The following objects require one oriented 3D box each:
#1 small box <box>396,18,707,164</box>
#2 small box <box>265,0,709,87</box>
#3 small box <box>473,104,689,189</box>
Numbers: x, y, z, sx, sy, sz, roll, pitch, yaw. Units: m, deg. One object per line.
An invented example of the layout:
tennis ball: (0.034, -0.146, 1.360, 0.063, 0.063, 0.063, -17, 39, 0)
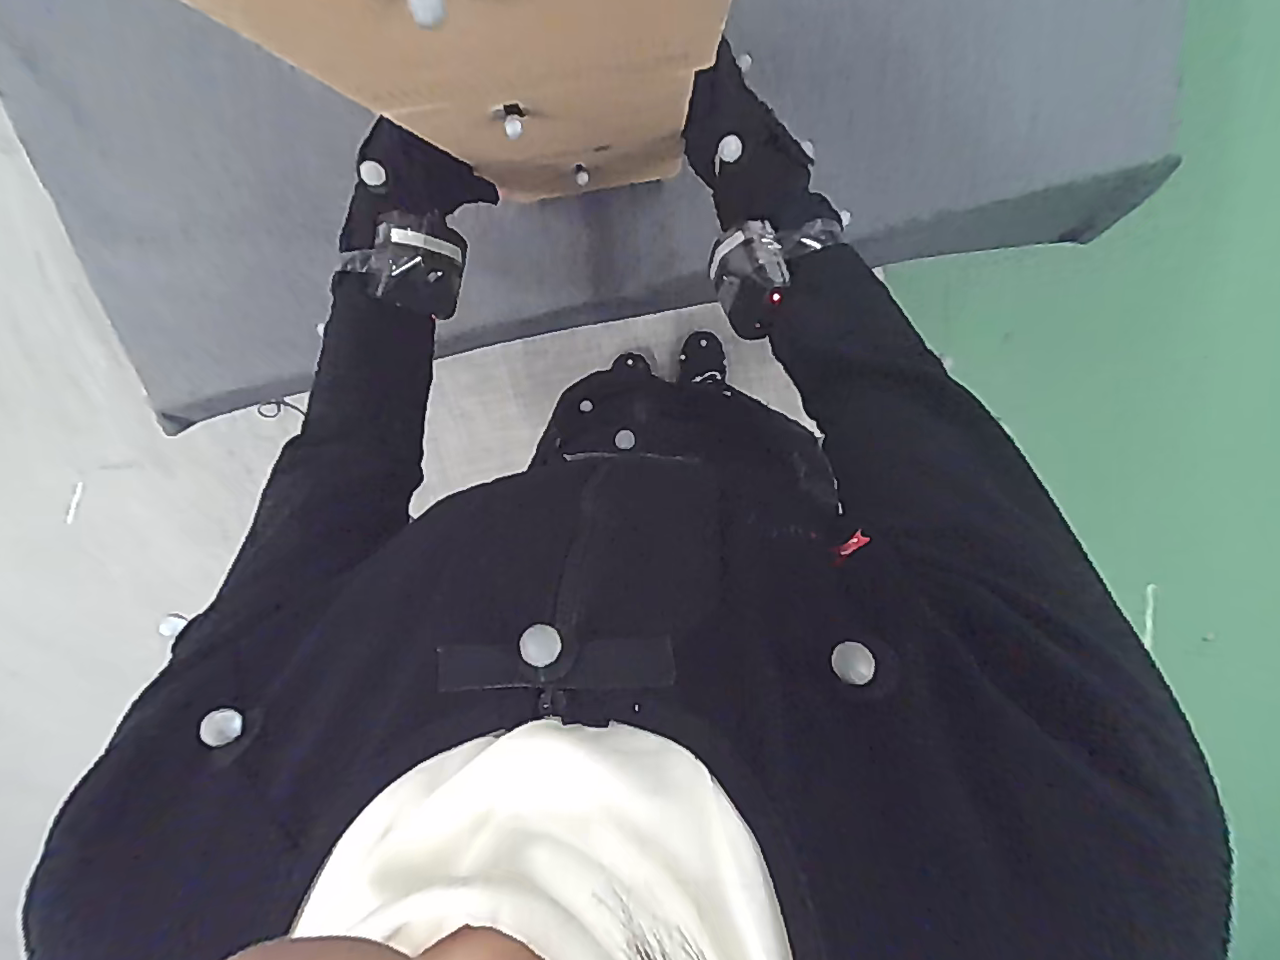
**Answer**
small box: (-0.059, -0.315, 0.325, 0.168, 0.176, 0.179, -9, 111, 4)
small box: (-0.062, -0.251, 0.170, 0.179, 0.176, 0.168, -5, 111, 3)
small box: (-0.056, -0.370, 0.477, 0.179, 0.176, 0.168, -8, 111, 3)
